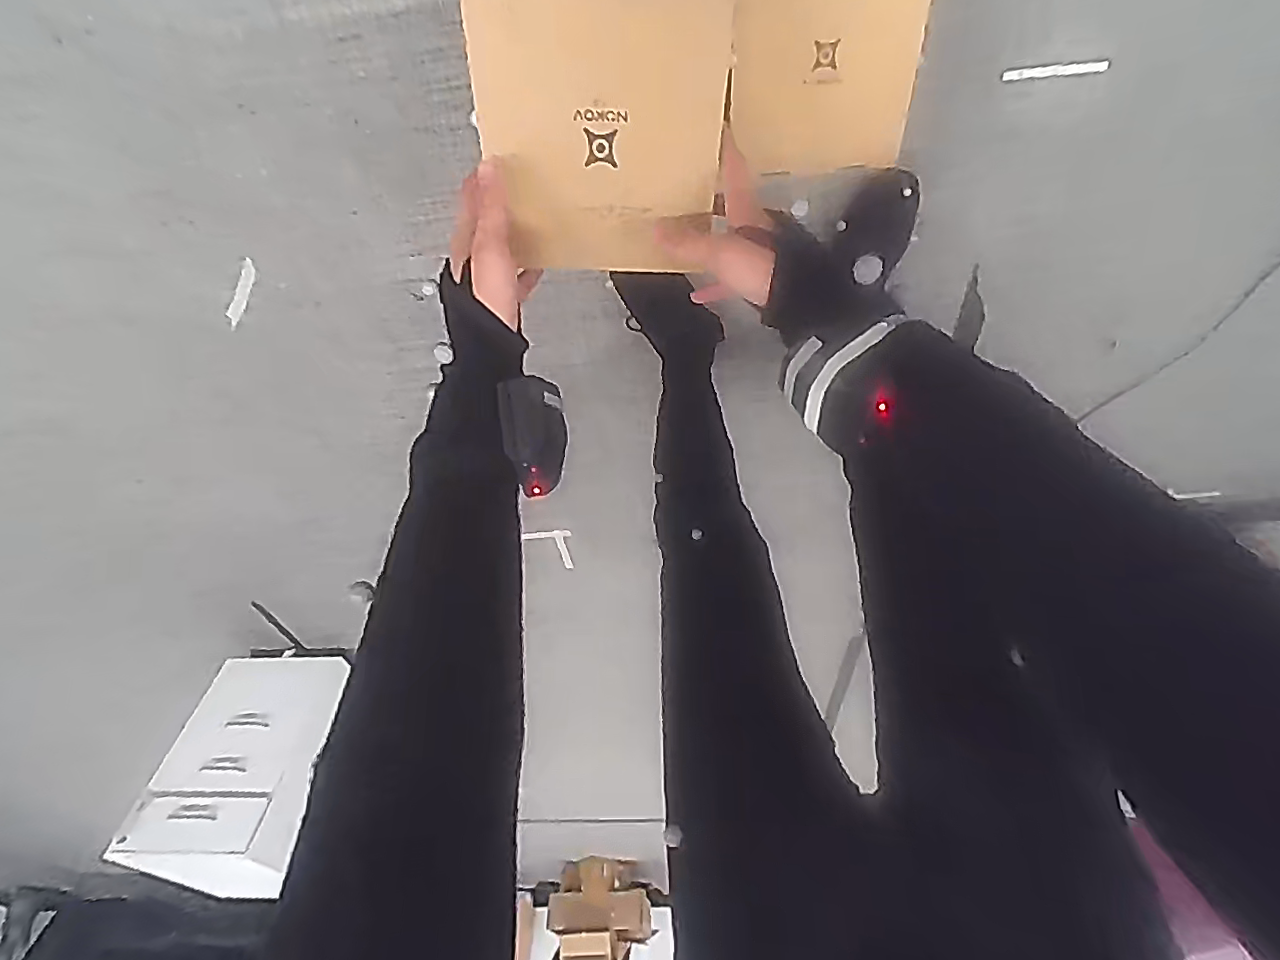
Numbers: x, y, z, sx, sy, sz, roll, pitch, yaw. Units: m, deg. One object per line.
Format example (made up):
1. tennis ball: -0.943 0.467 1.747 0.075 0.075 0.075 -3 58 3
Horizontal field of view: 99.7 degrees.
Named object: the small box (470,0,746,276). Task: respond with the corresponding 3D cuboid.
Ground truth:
1. small box: -0.025 -0.279 0.424 0.168 0.176 0.179 1 131 -2
